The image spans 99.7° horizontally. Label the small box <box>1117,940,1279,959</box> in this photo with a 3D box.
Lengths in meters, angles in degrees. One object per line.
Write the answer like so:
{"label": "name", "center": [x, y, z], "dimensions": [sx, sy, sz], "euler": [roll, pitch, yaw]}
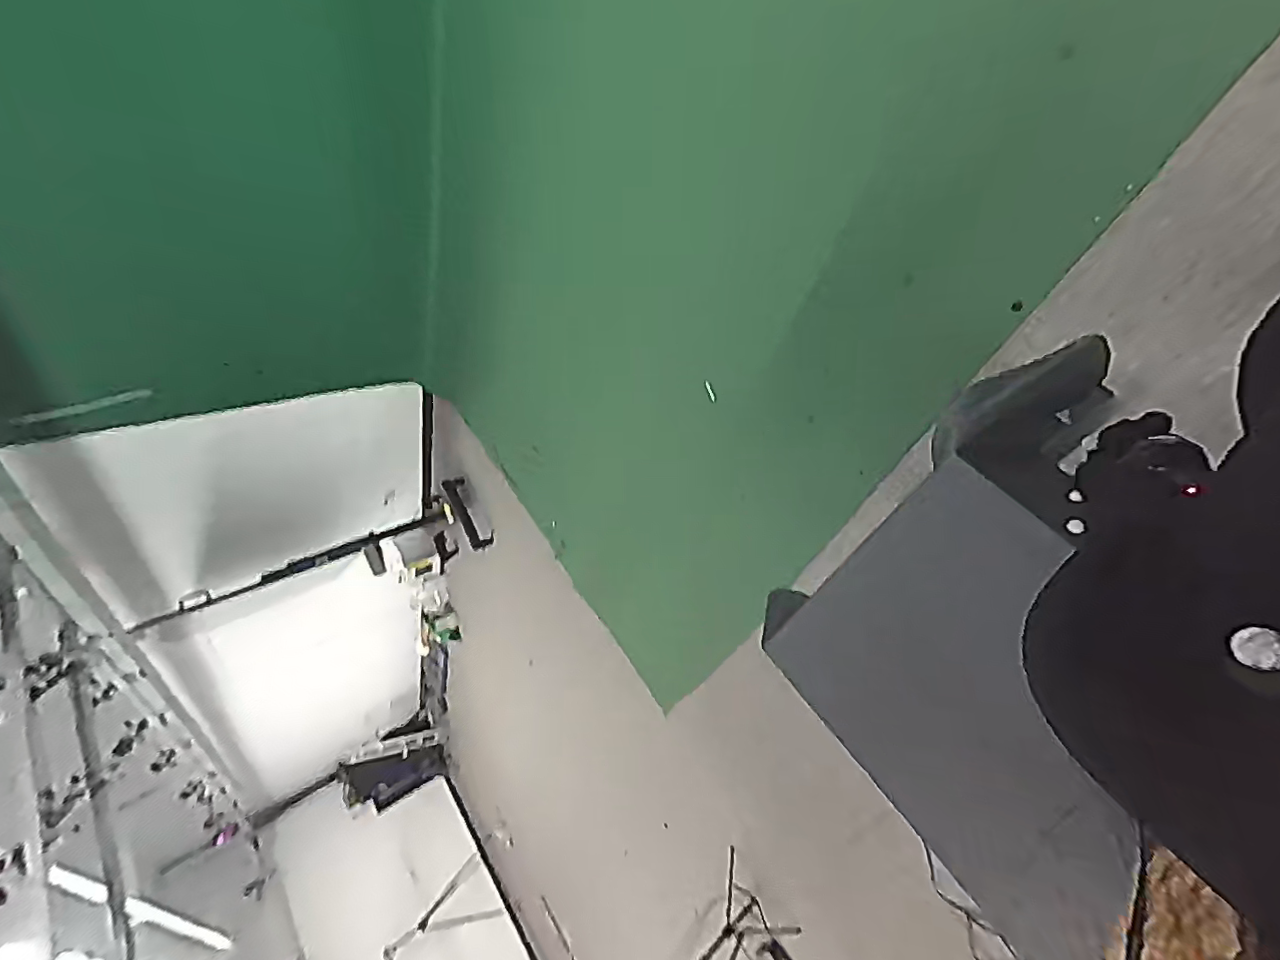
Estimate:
{"label": "small box", "center": [0.554, 0.556, 0.480], "dimensions": [0.179, 0.176, 0.168], "euler": [49, 139, 27]}
